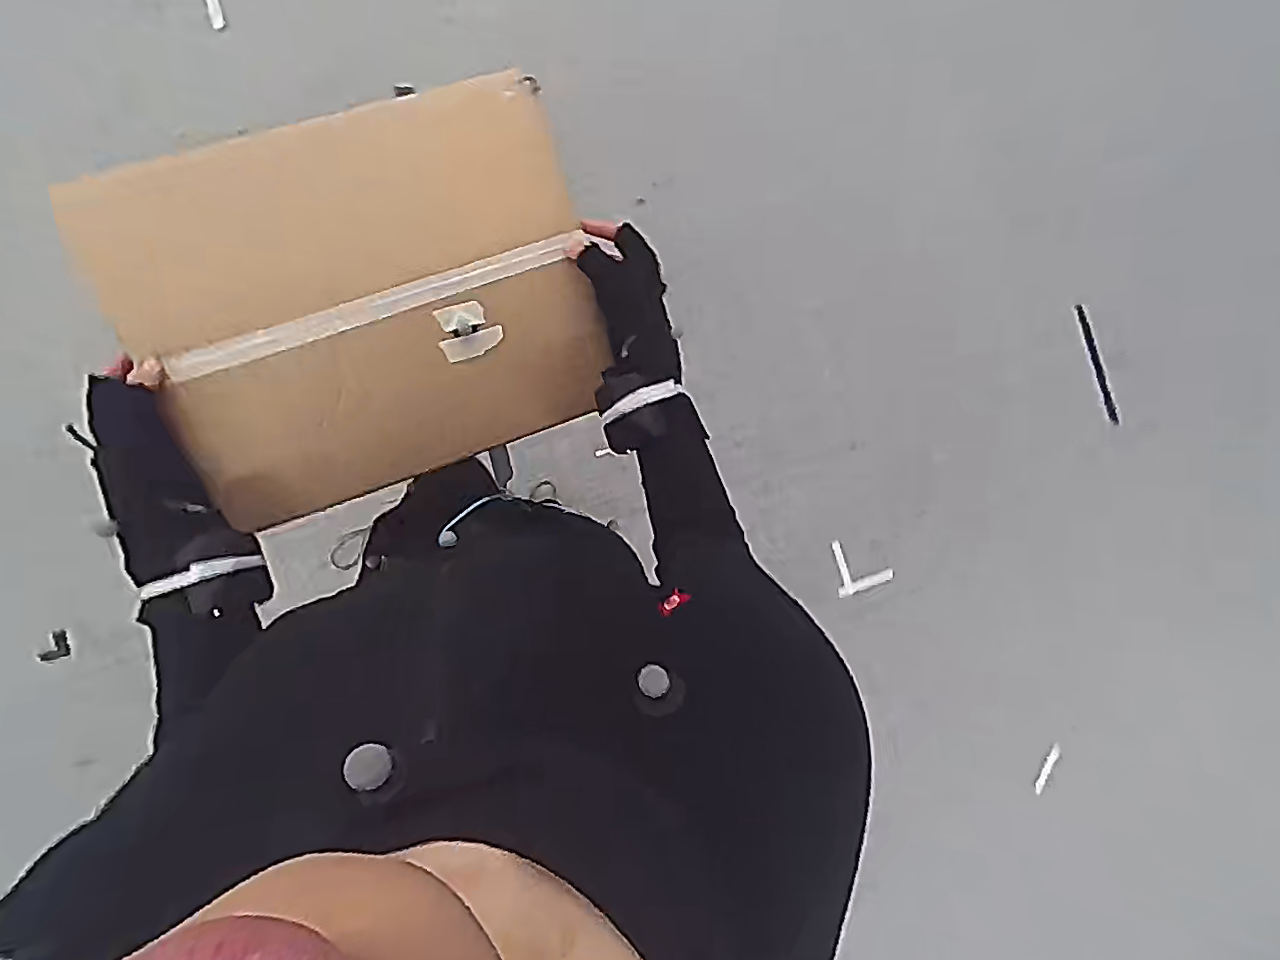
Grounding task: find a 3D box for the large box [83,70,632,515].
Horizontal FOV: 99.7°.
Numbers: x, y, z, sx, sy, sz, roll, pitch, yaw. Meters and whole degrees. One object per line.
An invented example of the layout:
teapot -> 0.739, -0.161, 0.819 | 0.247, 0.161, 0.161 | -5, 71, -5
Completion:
large box -> -0.269, -0.197, 0.653 | 0.408, 0.320, 0.320 | -21, 104, -9
